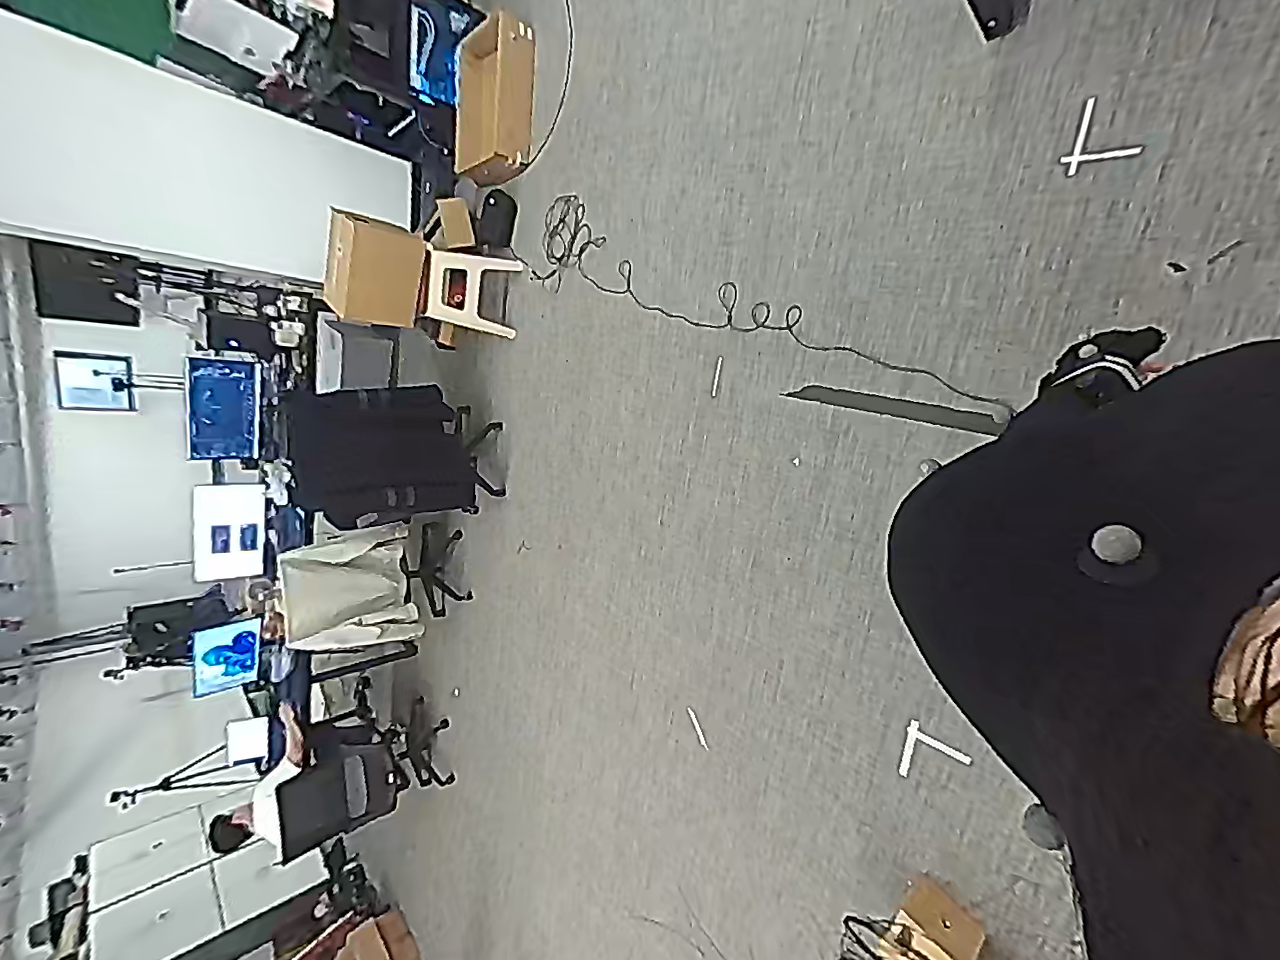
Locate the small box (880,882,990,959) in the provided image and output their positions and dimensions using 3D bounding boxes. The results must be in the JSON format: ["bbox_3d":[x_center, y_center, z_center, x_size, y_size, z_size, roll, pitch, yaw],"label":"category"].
[{"bbox_3d":[0.771,1.204,1.413,0.179,0.176,0.168,34,116,38],"label":"small box"}]
